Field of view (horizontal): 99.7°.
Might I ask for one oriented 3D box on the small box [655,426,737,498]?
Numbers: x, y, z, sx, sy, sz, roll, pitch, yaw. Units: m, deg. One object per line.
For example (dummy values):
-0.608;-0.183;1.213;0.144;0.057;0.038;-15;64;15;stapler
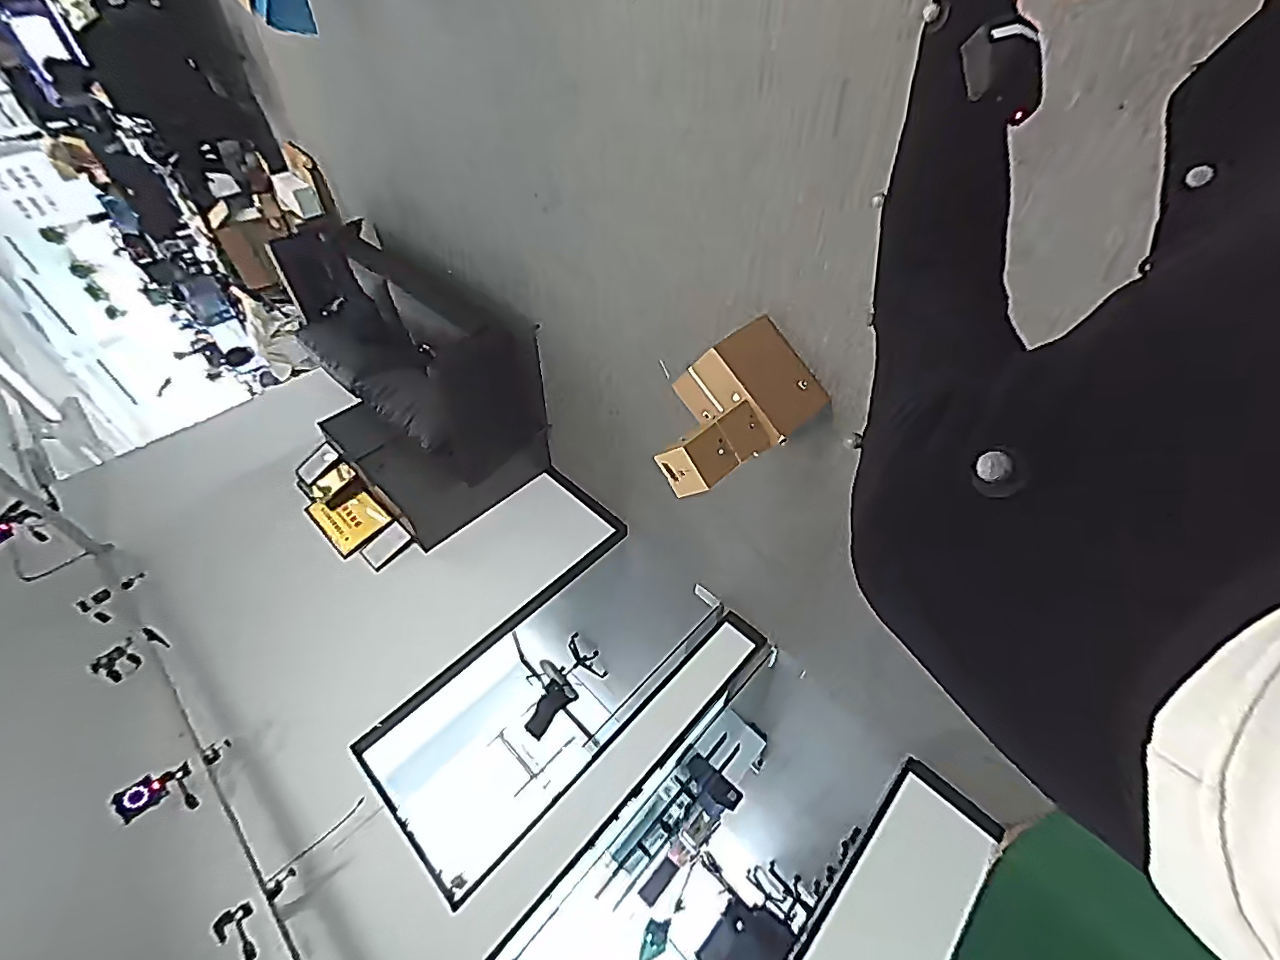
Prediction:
0.189;-0.060;1.805;0.168;0.176;0.179;58;149;-9;small box
